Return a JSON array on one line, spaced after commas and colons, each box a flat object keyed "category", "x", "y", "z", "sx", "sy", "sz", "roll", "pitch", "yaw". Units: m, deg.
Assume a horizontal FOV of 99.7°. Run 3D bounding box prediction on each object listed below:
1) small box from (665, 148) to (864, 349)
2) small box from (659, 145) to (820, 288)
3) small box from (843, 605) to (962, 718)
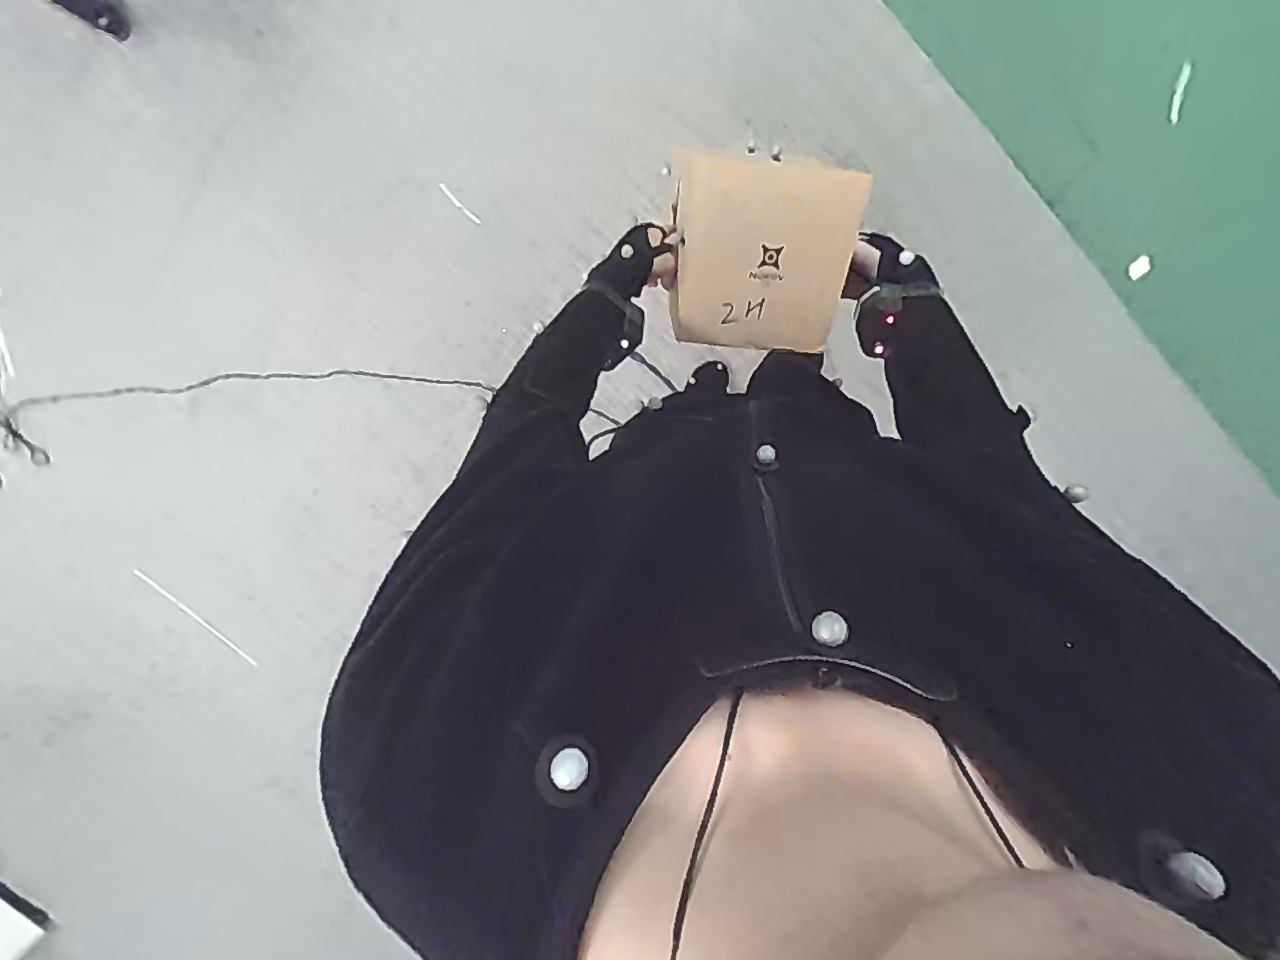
[{"category": "small box", "x": 0.119, "y": -0.262, "z": 0.603, "sx": 0.168, "sy": 0.176, "sz": 0.179, "roll": 3, "pitch": 124, "yaw": -3}, {"category": "small box", "x": 0.120, "y": -0.357, "z": 0.739, "sx": 0.179, "sy": 0.176, "sz": 0.168, "roll": 2, "pitch": 123, "yaw": -3}, {"category": "small box", "x": 0.633, "y": 0.433, "z": 1.331, "sx": 0.179, "sy": 0.176, "sz": 0.168, "roll": 43, "pitch": 103, "yaw": -7}]
